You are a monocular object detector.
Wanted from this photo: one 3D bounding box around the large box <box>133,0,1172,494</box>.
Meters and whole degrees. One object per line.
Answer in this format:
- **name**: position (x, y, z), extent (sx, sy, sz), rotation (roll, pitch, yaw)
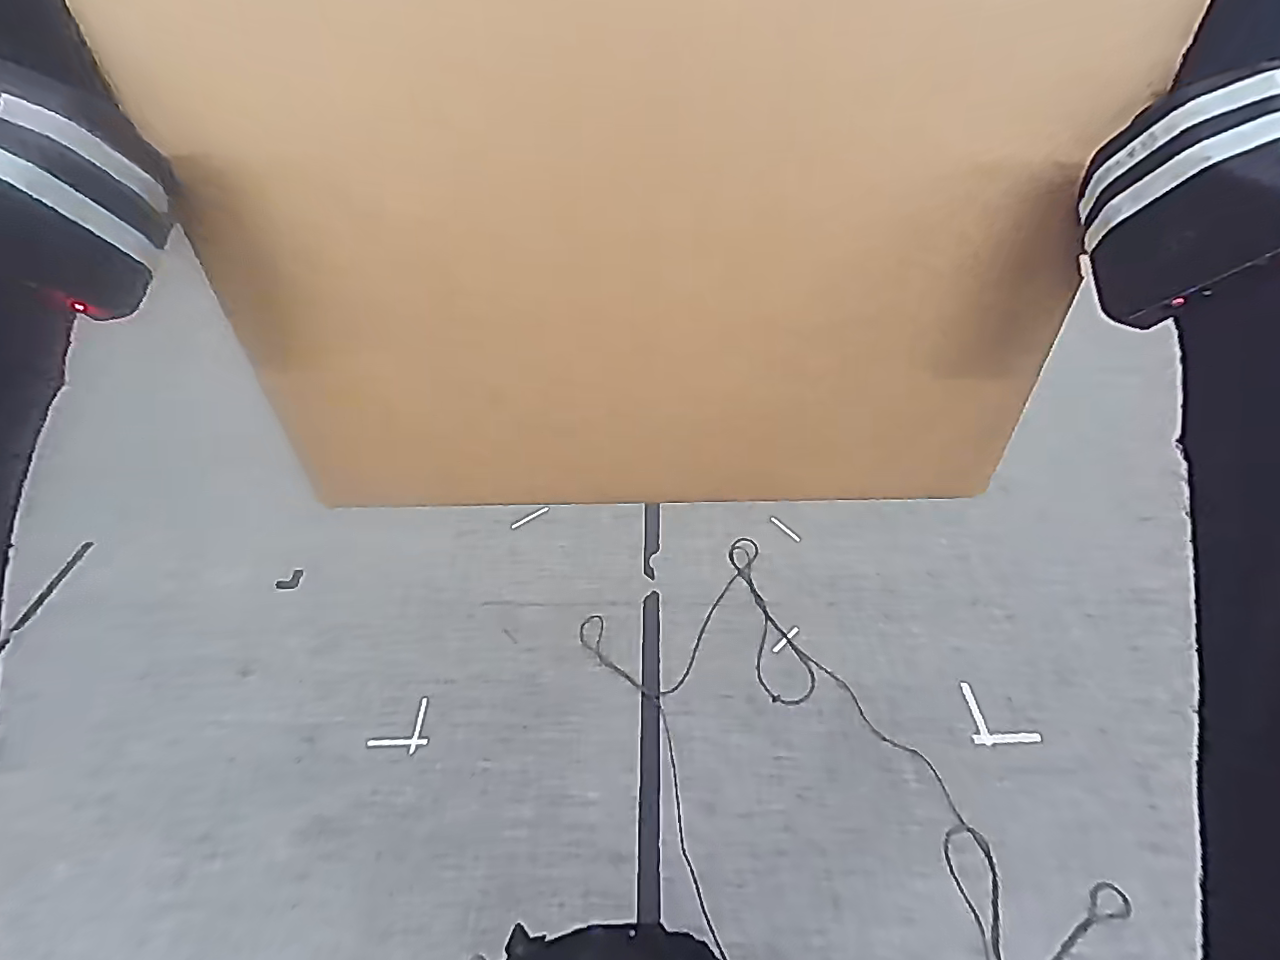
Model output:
- **large box**: position (0.005, -0.202, 0.370), extent (0.408, 0.320, 0.320), rotation (0, 37, 1)
